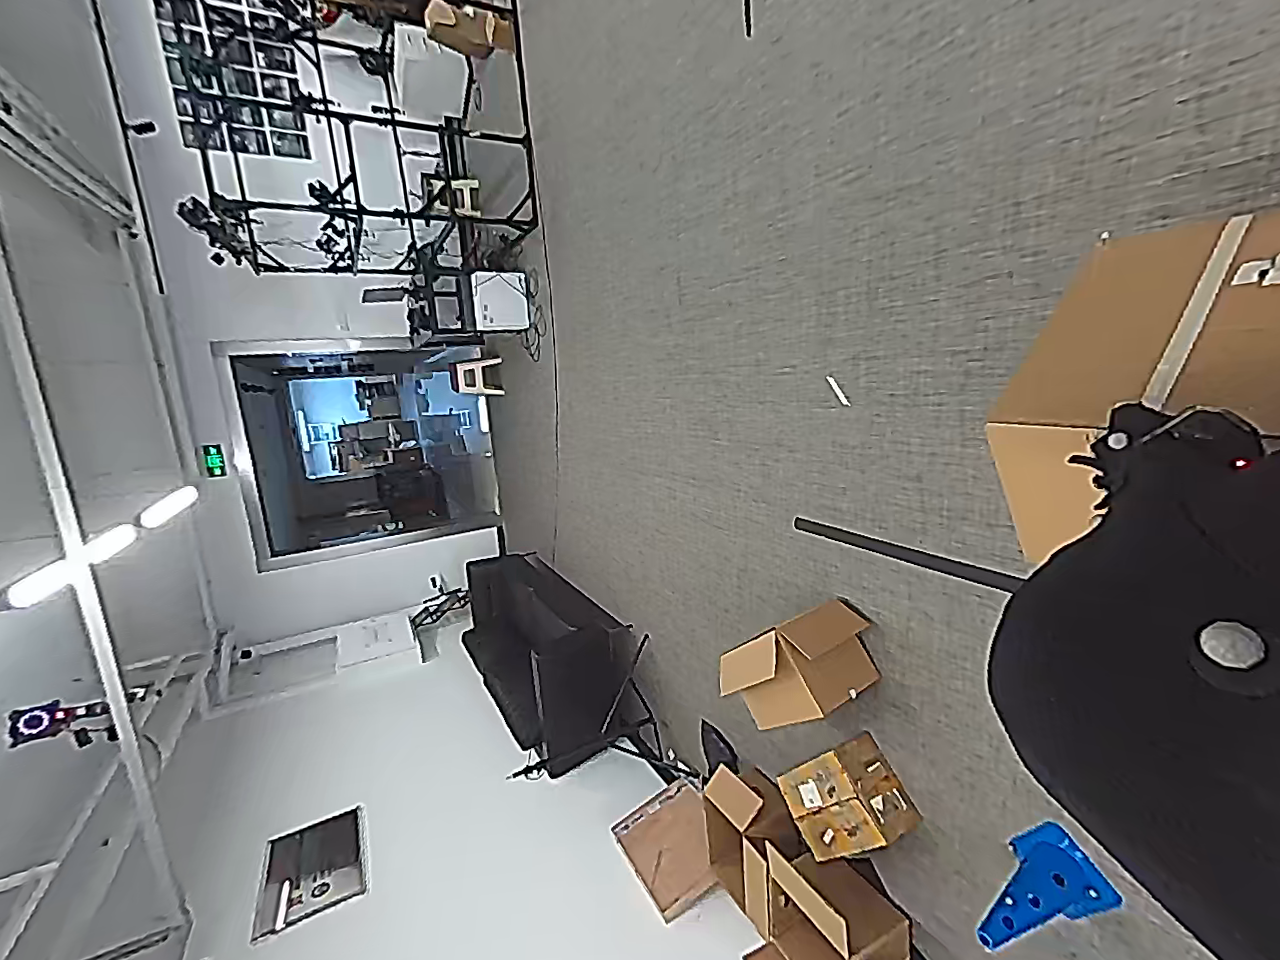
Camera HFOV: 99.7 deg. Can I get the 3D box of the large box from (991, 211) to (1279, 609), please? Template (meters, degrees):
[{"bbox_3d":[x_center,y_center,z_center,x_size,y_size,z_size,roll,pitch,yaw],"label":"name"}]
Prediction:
[{"bbox_3d":[0.753,-0.097,0.729,0.320,0.408,0.320,16,150,55],"label":"large box"}]
